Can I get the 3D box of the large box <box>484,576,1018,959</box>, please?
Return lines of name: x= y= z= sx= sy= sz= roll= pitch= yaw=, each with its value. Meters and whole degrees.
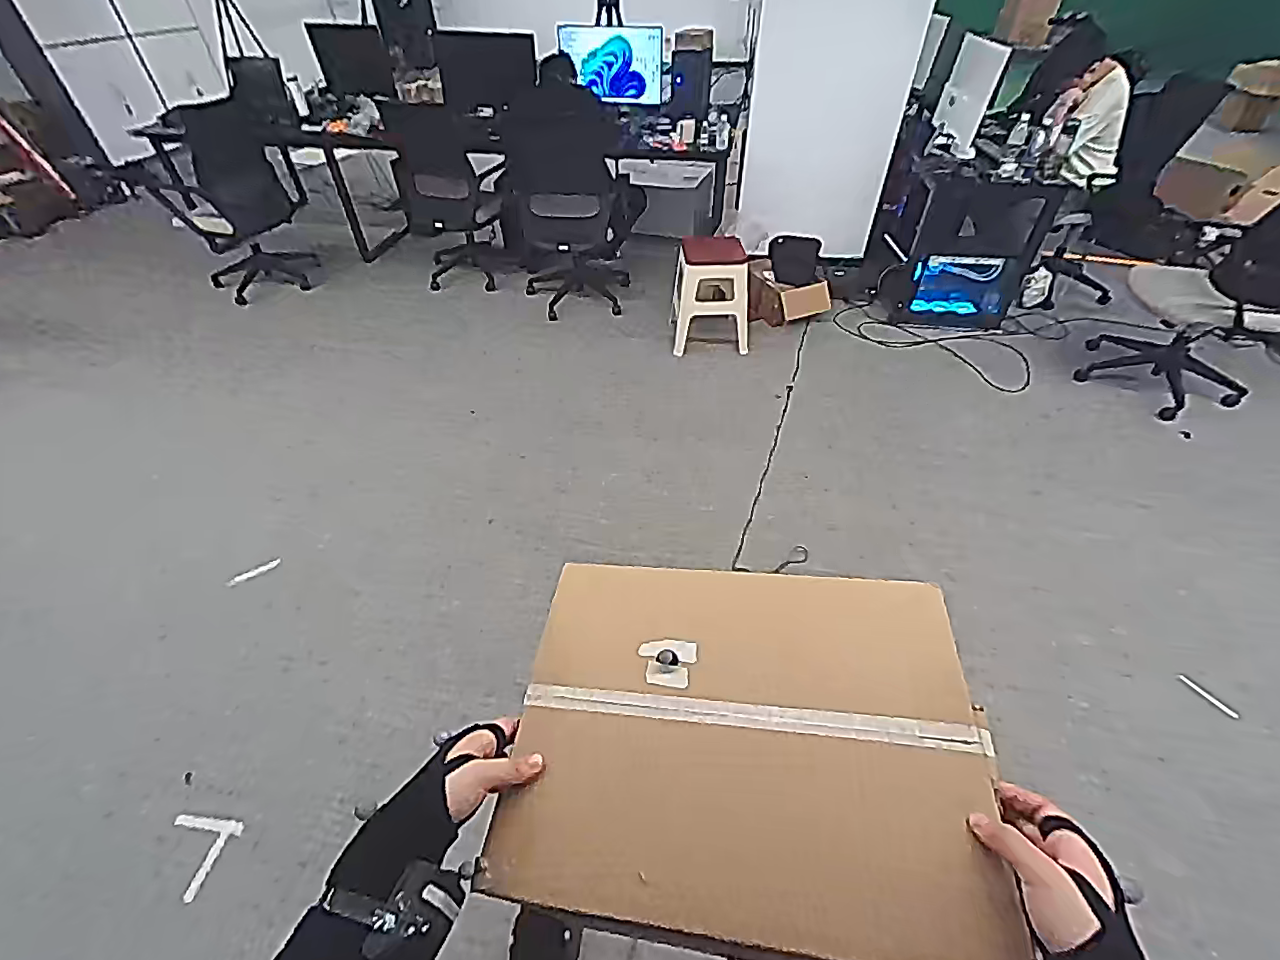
large box: x=0.109 y=0.323 z=0.609 sx=0.408 sy=0.320 sz=0.320 roll=-1 pitch=46 yaw=13
